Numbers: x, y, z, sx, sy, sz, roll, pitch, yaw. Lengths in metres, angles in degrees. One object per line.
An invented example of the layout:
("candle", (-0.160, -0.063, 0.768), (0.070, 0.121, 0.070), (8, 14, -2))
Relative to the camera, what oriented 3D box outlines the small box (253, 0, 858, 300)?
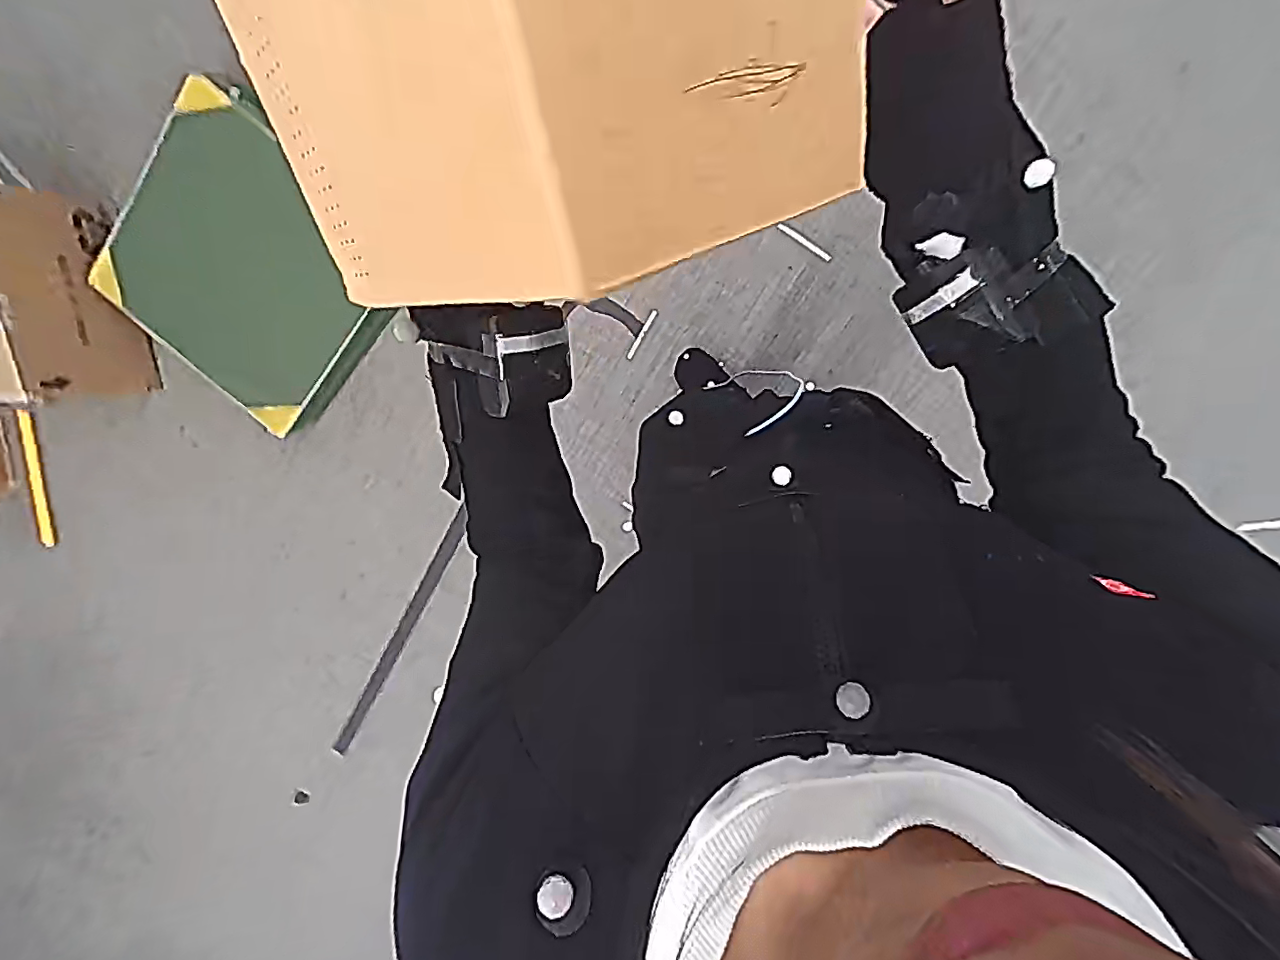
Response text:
("small box", (-0.032, -0.180, 0.212), (0.176, 0.168, 0.179), (15, 129, 41))
